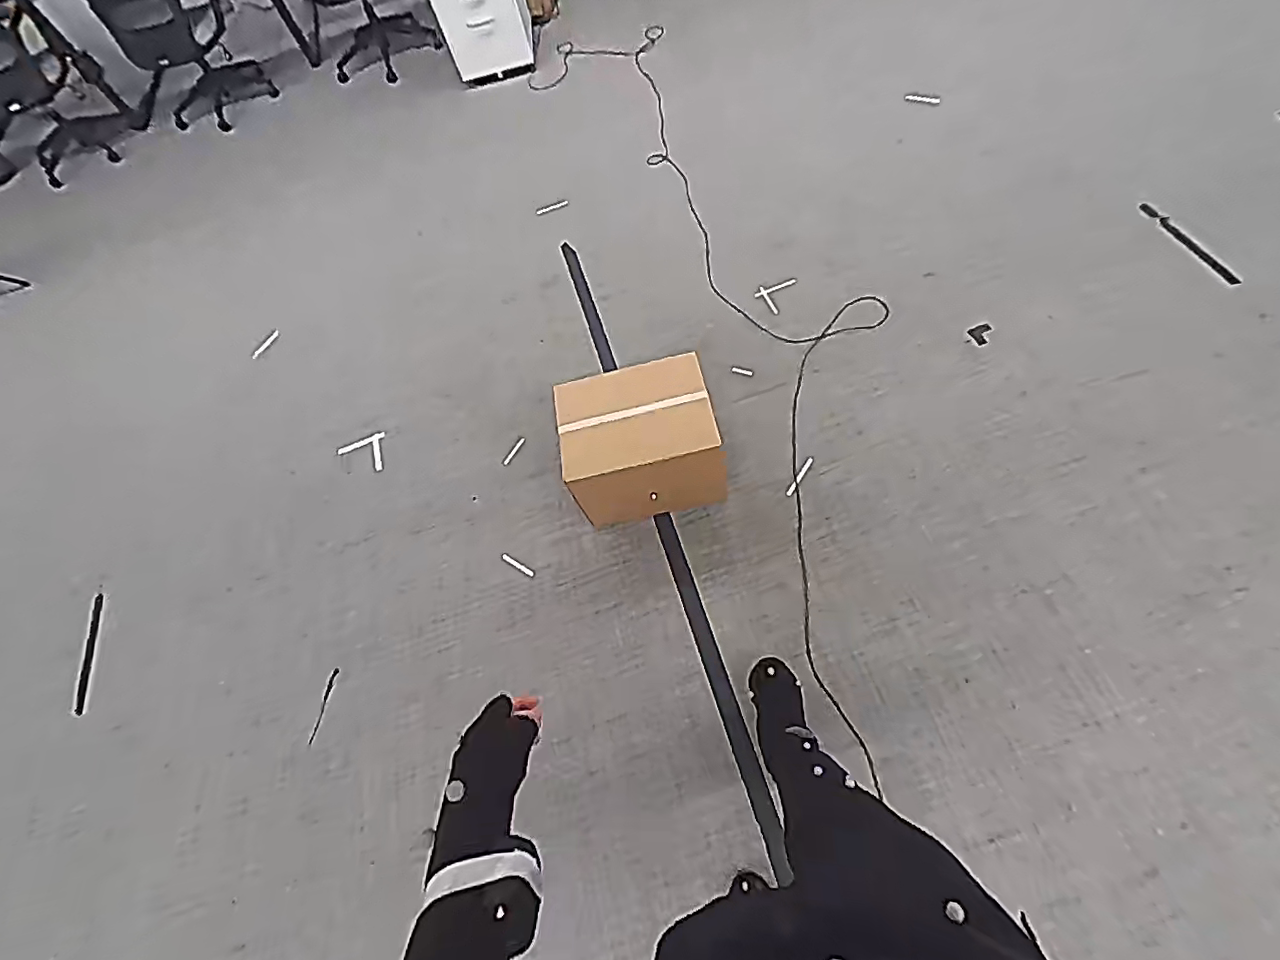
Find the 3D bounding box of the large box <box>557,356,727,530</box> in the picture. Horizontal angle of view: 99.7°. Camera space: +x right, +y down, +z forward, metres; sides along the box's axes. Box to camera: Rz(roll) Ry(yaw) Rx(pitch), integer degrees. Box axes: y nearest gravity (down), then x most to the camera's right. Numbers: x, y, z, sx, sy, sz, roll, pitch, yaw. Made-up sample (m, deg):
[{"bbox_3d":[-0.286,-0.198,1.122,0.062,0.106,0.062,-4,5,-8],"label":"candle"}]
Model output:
[{"bbox_3d":[0.013,-0.091,1.531,0.408,0.320,0.320,-13,61,4],"label":"large box"}]
